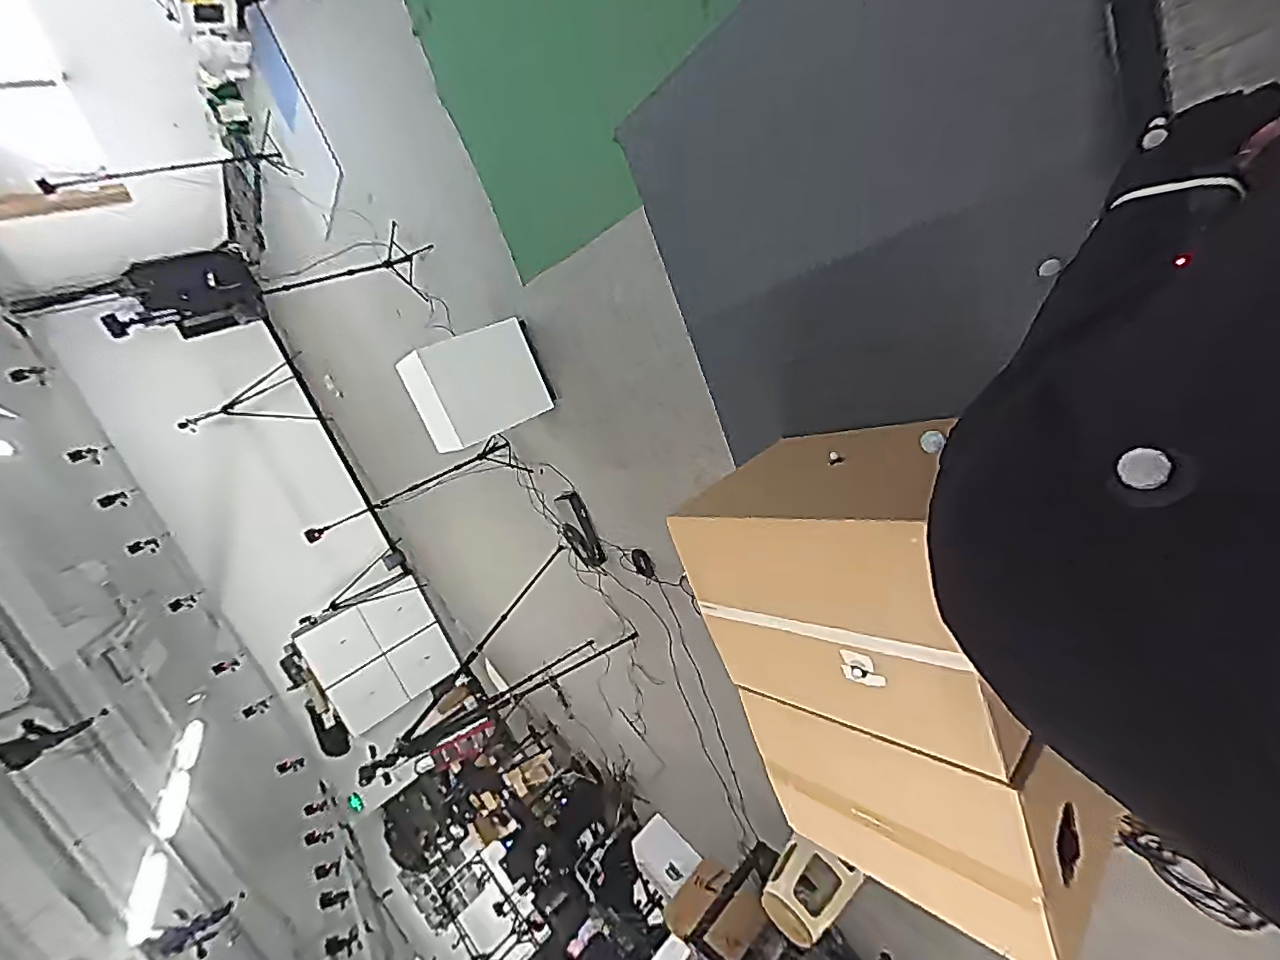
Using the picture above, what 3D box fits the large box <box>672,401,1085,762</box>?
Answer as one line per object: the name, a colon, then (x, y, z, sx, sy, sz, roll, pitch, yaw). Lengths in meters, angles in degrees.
large box: (0.323, 0.109, 0.772, 0.408, 0.320, 0.320, -6, 111, 53)
